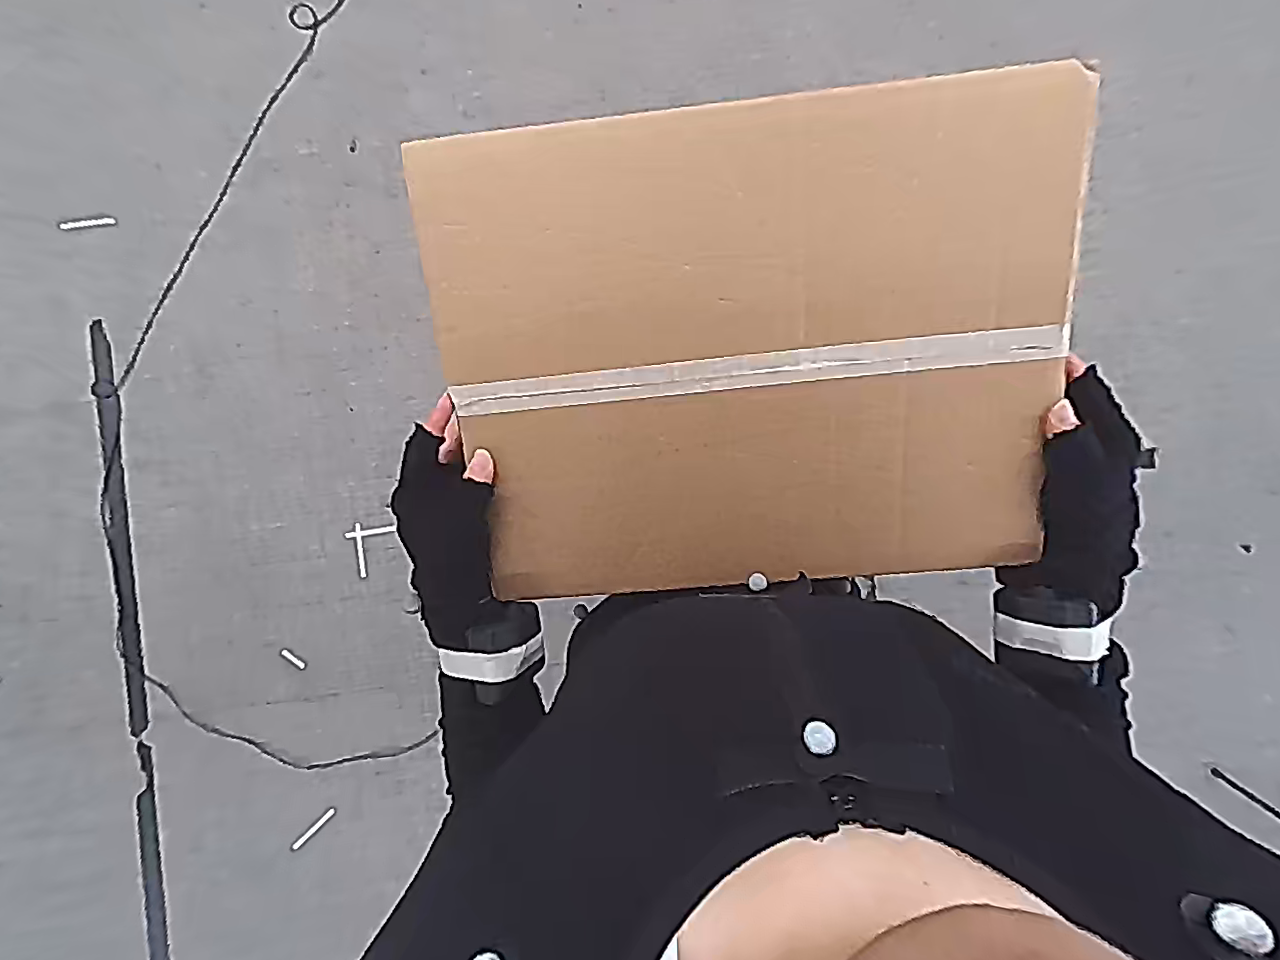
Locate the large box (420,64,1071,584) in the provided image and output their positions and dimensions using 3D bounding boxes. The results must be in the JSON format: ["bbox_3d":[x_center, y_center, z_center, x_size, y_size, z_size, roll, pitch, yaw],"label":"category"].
[{"bbox_3d":[0.074,-0.124,0.512,0.408,0.320,0.320,-4,108,3],"label":"large box"}]
